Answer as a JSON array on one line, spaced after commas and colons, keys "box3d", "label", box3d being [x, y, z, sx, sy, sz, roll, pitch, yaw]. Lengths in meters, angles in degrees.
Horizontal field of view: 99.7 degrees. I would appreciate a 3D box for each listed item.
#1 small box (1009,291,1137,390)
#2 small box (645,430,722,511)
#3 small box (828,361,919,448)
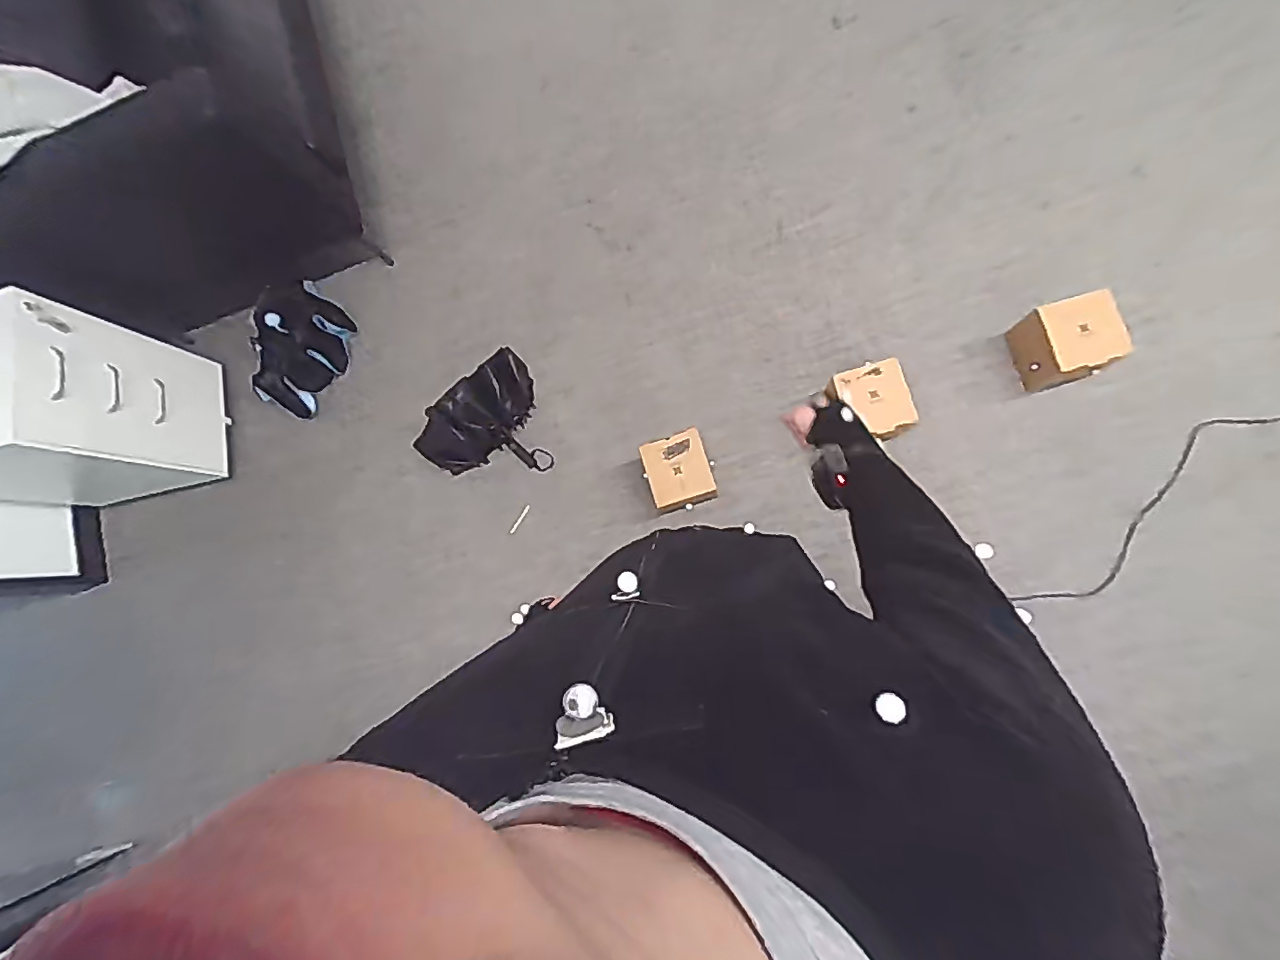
[{"box3d": [1.087, -0.342, 1.375, 0.168, 0.176, 0.179, -16, 79, 8], "label": "small box"}, {"box3d": [0.126, -0.021, 1.515, 0.168, 0.176, 0.179, -18, 81, 8], "label": "small box"}, {"box3d": [0.616, -0.191, 1.446, 0.168, 0.176, 0.179, -15, 81, 9], "label": "small box"}]
